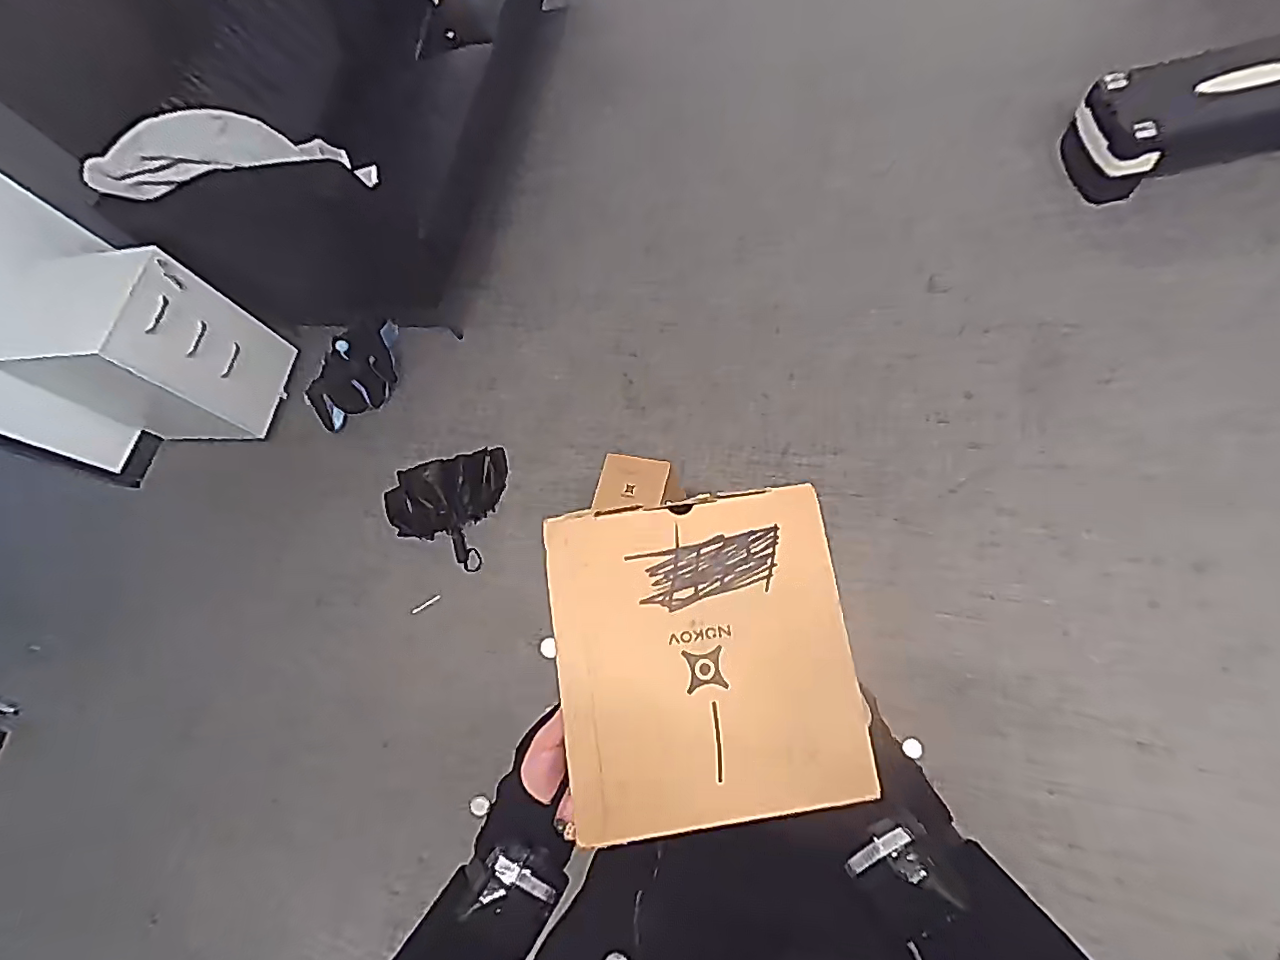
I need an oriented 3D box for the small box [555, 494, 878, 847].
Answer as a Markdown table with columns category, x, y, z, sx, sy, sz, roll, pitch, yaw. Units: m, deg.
| category | x | y | z | sx | sy | sz | roll | pitch | yaw |
| --- | --- | --- | --- | --- | --- | --- | --- | --- | --- |
| small box | 0.037 | 0.118 | 0.386 | 0.168 | 0.176 | 0.179 | -8 | 79 | -3 |
